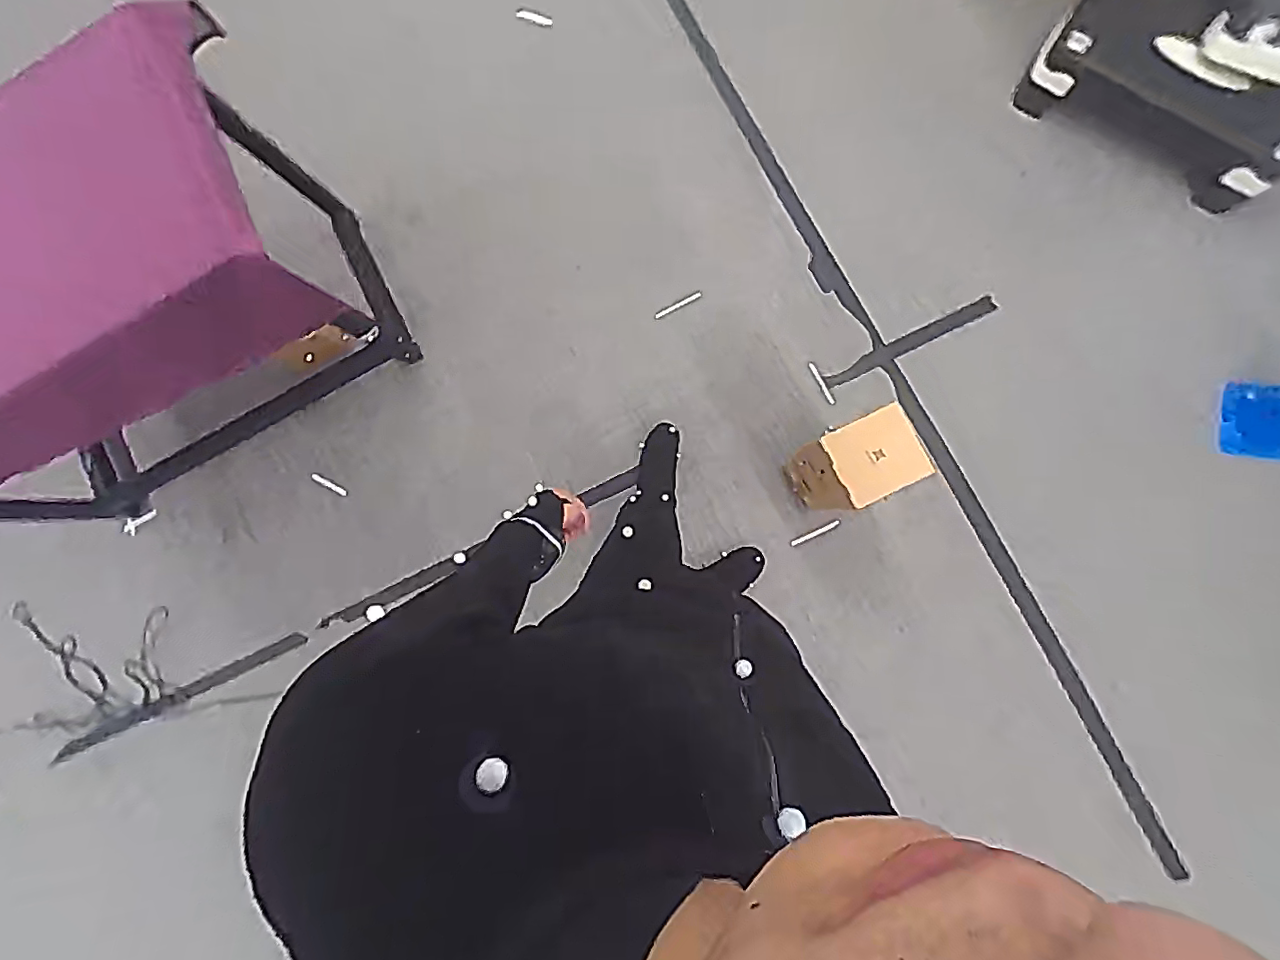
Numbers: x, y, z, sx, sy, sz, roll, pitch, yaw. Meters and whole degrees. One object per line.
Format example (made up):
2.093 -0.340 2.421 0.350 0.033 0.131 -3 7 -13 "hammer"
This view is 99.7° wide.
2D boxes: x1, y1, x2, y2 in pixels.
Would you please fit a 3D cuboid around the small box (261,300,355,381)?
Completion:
-1.055 -0.441 1.738 0.179 0.176 0.168 -26 83 5 "small box"

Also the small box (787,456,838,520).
0.532 -0.001 1.508 0.179 0.176 0.168 -30 83 5 "small box"

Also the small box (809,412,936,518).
0.496 -0.028 1.183 0.179 0.176 0.168 -27 85 5 "small box"
